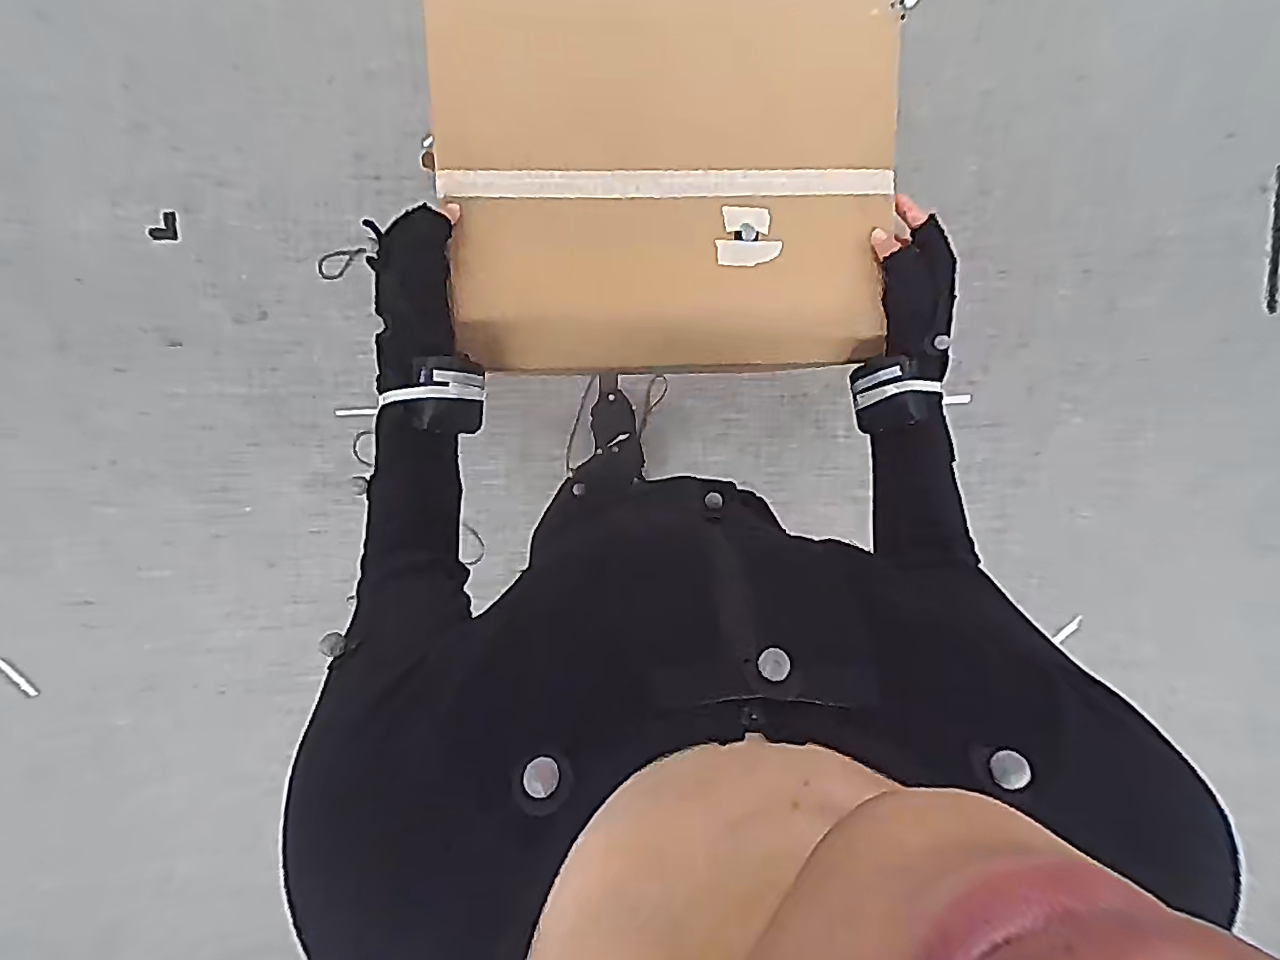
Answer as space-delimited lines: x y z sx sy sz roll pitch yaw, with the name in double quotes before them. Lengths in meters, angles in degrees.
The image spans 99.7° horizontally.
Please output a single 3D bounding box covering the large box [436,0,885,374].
"large box" 0.015 -0.293 0.642 0.408 0.320 0.320 -2 101 -5
